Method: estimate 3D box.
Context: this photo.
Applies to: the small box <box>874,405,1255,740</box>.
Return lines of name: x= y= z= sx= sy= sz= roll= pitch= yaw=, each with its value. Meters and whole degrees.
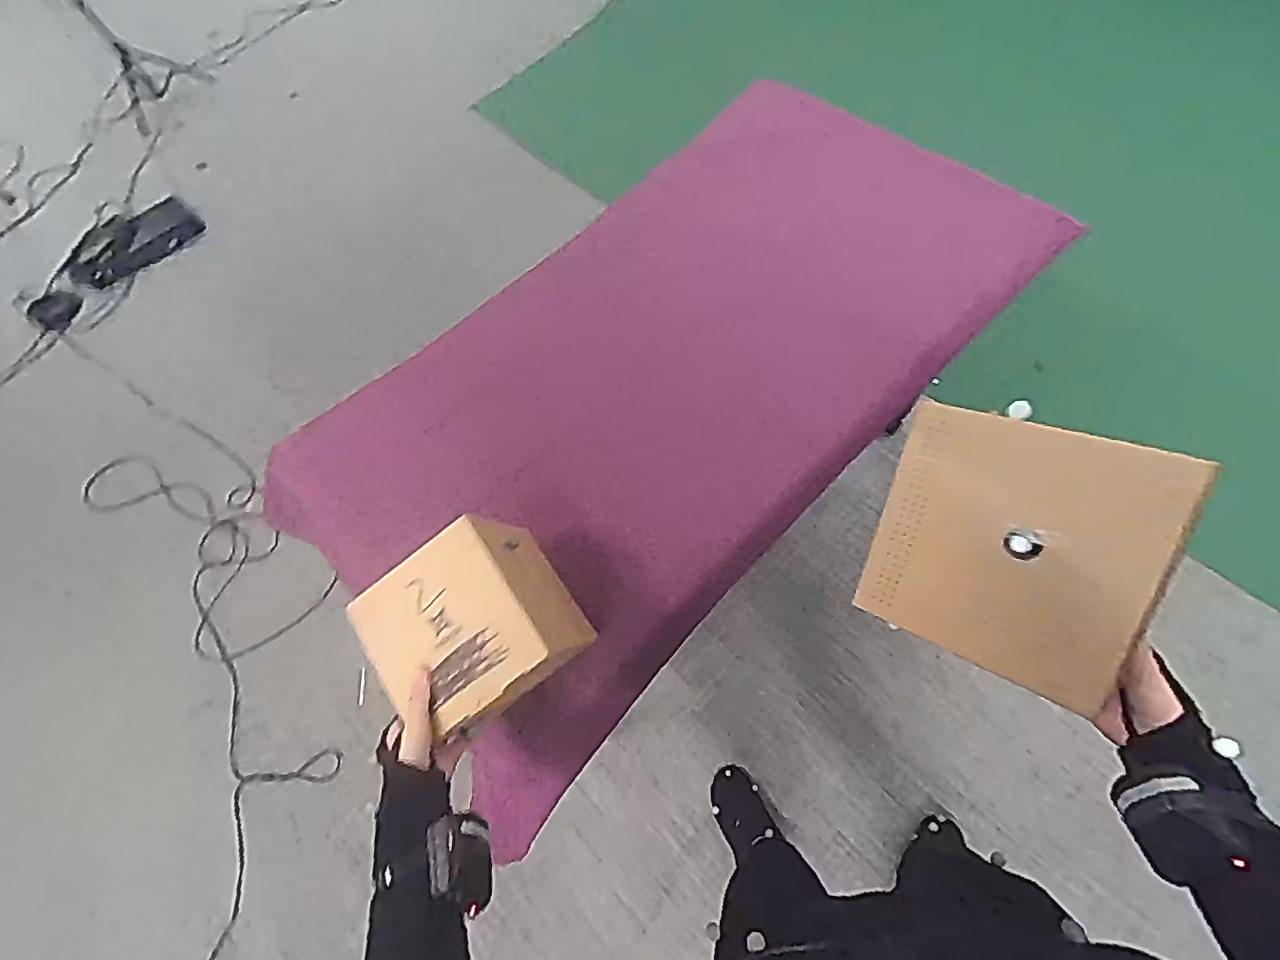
small box: x=0.307 y=0.052 z=0.419 sx=0.176 sy=0.168 sz=0.179 roll=25 pitch=108 yaw=40
